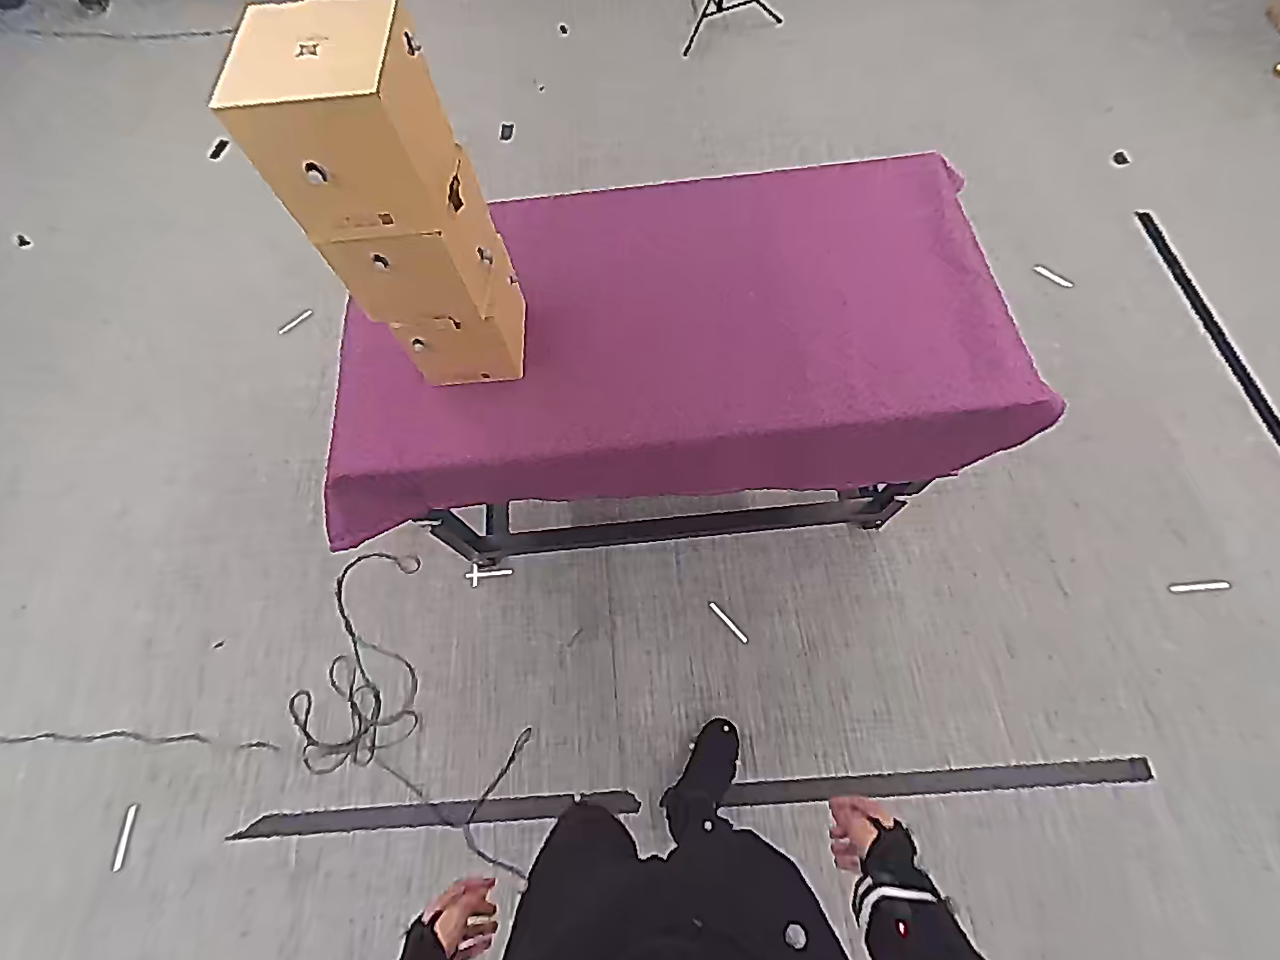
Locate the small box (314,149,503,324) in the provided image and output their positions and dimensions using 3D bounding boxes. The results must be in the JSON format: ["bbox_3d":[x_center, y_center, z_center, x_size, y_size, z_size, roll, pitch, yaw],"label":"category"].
[{"bbox_3d":[-0.316,-0.342,0.779,0.179,0.176,0.168,2,67,4],"label":"small box"}]

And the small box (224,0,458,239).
[{"bbox_3d":[-0.323,-0.402,0.627,0.168,0.176,0.179,-4,66,1],"label":"small box"}]
